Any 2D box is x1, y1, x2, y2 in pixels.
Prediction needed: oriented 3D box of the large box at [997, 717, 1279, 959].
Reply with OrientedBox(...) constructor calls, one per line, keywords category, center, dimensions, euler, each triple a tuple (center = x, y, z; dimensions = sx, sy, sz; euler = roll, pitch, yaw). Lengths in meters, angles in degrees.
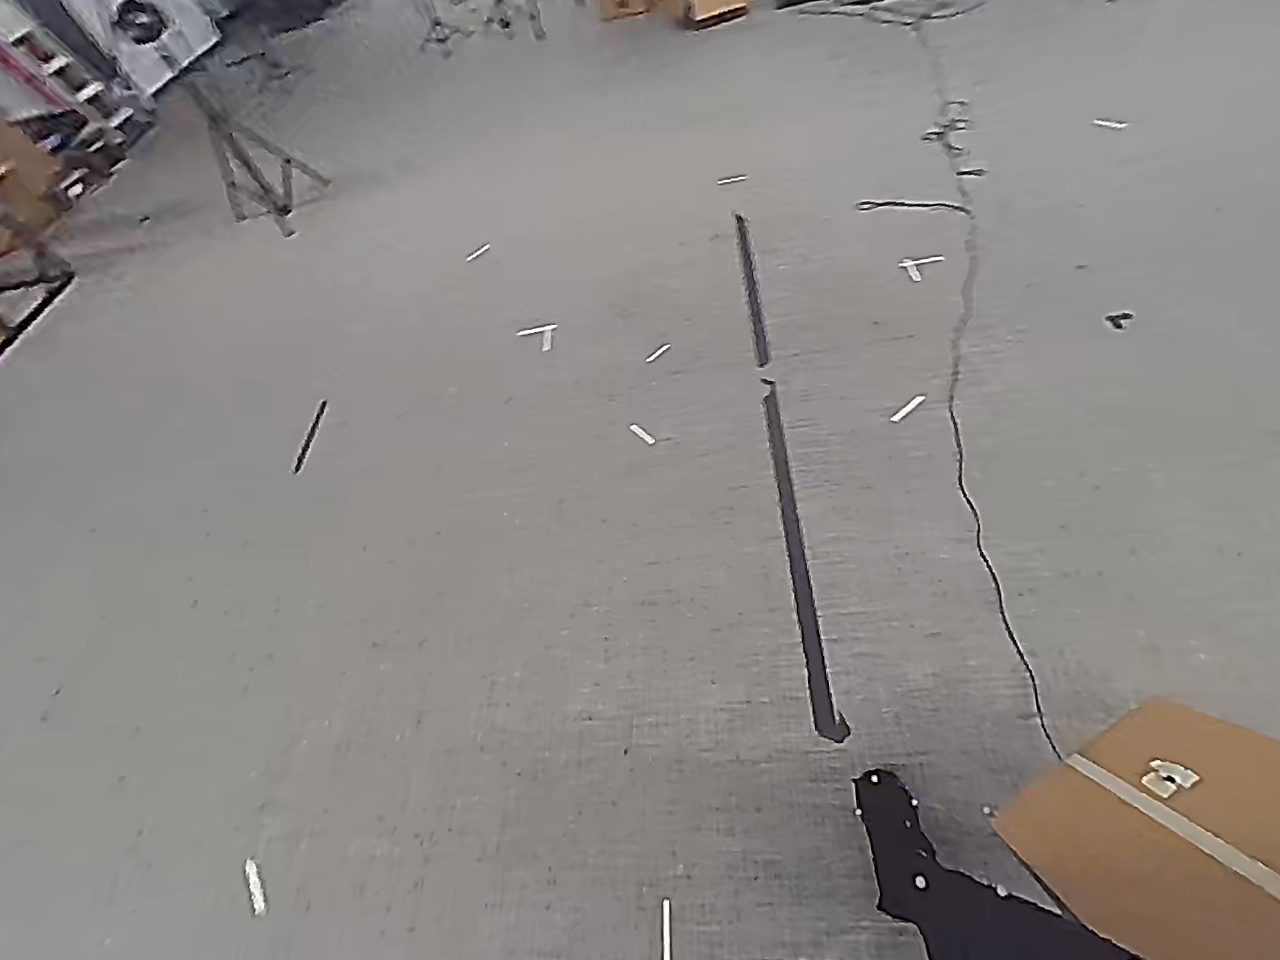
OrientedBox(category="large box", center=(0.717, 0.533, 0.584), dimensions=(0.320, 0.408, 0.320), euler=(-36, 79, 2))
